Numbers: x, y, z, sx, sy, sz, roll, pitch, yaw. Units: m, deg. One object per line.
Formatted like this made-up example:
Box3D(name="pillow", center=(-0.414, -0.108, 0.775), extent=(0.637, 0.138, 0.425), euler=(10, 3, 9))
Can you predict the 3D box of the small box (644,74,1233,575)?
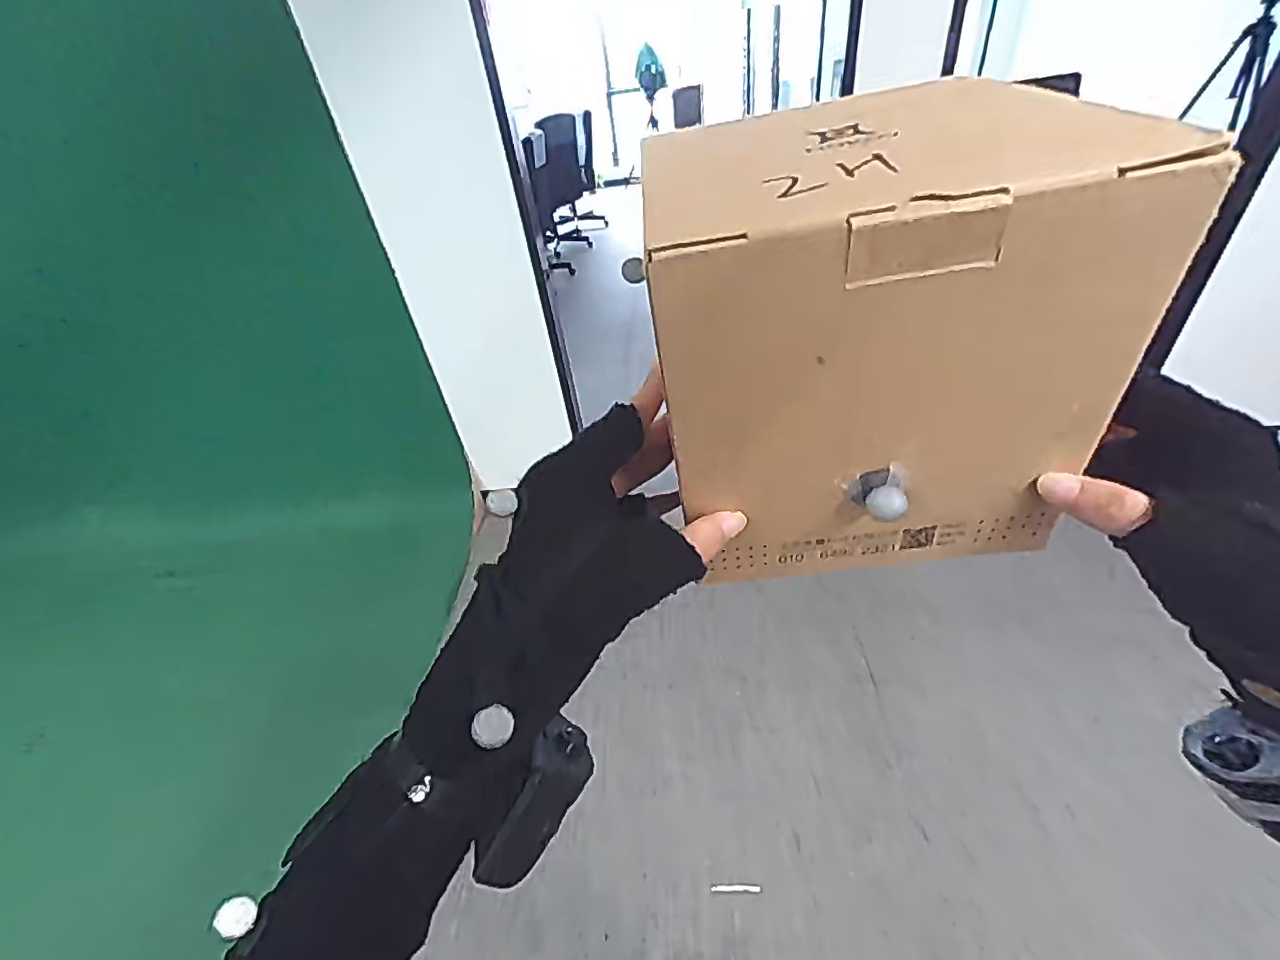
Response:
Box3D(name="small box", center=(0.094, -0.077, 0.270), extent=(0.168, 0.176, 0.179), euler=(-7, 43, 6))
